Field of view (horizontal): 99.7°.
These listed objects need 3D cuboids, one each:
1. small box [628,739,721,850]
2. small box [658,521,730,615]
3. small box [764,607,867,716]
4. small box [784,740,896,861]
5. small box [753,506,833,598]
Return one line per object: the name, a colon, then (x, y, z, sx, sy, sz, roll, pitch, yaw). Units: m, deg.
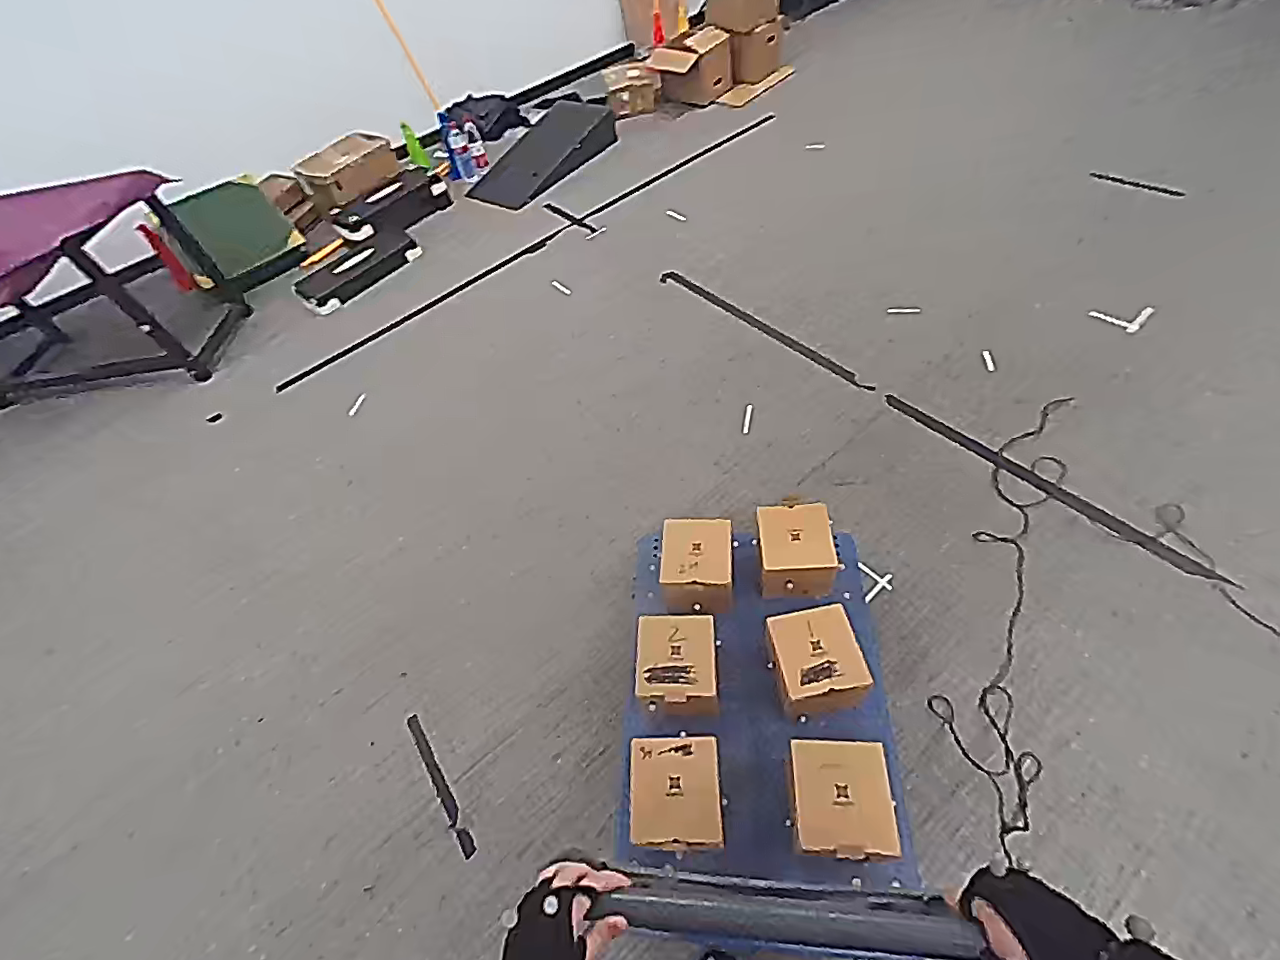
small box: (0.072, 0.621, 1.064, 0.168, 0.176, 0.179, -4, 53, 6)
small box: (0.140, 0.221, 1.355, 0.168, 0.176, 0.179, 0, 54, 10)
small box: (0.372, 0.401, 1.177, 0.168, 0.176, 0.179, -11, 52, 3)
small box: (0.366, 0.608, 1.023, 0.168, 0.176, 0.179, -1, 52, 9)
small box: (0.372, 0.185, 1.343, 0.168, 0.176, 0.179, -4, 52, 7)
